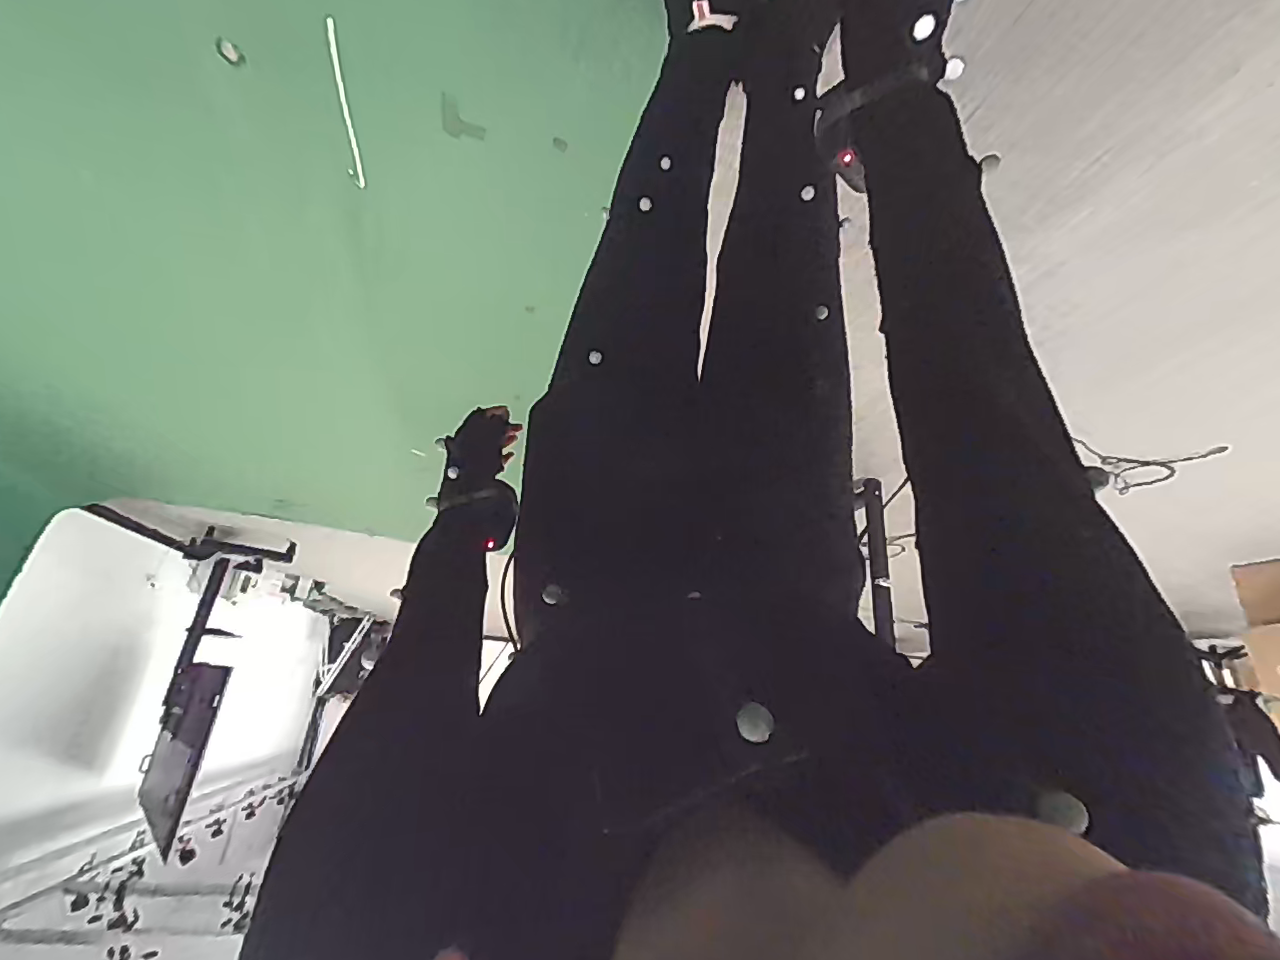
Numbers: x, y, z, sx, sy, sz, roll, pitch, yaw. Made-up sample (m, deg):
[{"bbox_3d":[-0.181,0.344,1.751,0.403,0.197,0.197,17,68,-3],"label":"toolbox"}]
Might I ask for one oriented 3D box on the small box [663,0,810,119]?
[{"bbox_3d":[0.124,-0.652,0.761,0.168,0.176,0.179,-2,161,-4],"label":"small box"}]
